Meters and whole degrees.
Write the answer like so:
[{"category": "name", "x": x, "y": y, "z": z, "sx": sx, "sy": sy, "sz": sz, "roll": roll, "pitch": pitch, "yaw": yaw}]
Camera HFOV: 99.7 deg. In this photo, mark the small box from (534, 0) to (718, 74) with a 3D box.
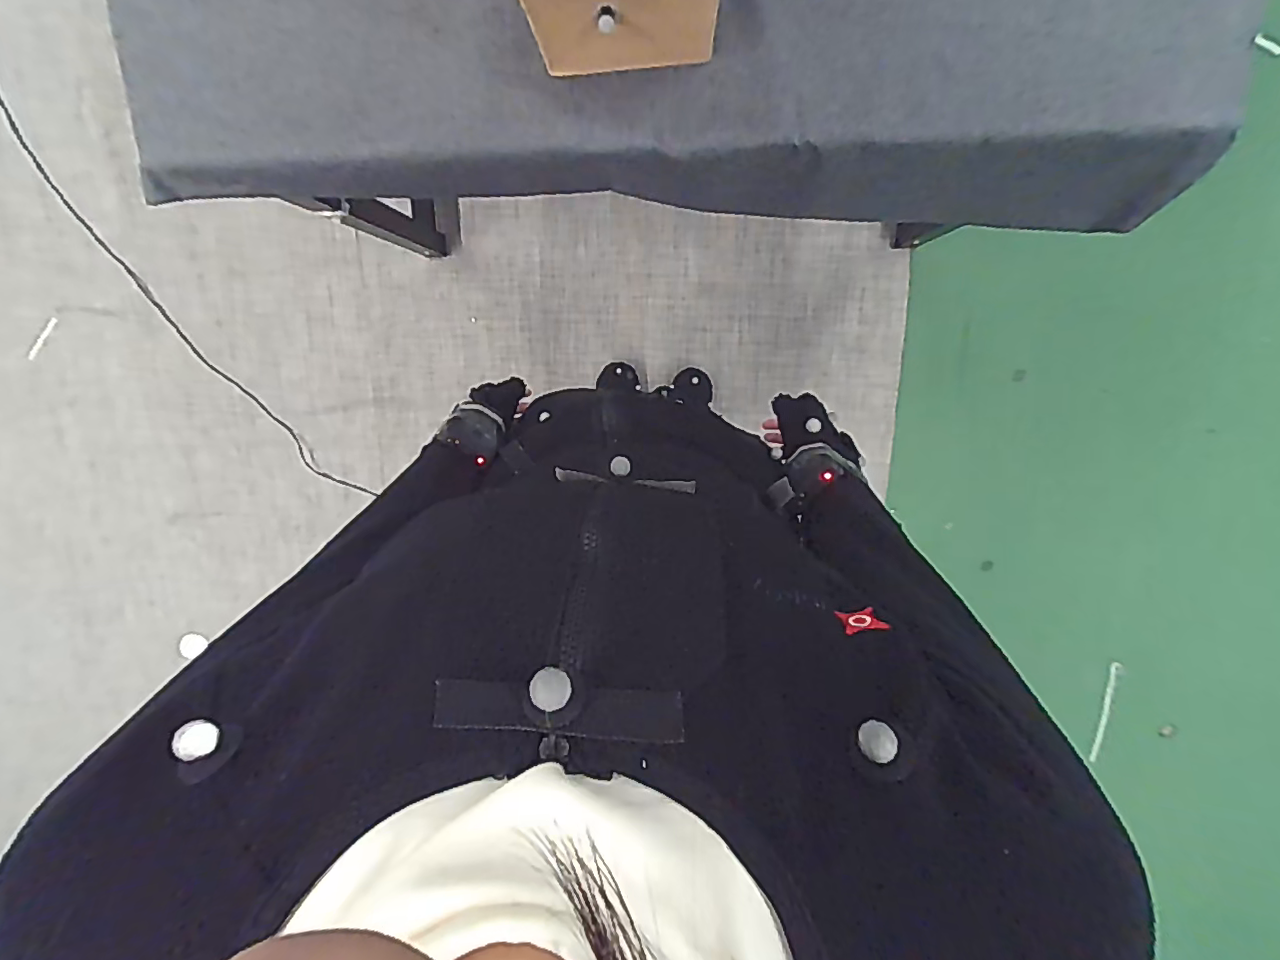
[{"category": "small box", "x": -0.019, "y": -0.511, "z": 0.494, "sx": 0.179, "sy": 0.176, "sz": 0.168, "roll": -6, "pitch": 100, "yaw": 4}]
